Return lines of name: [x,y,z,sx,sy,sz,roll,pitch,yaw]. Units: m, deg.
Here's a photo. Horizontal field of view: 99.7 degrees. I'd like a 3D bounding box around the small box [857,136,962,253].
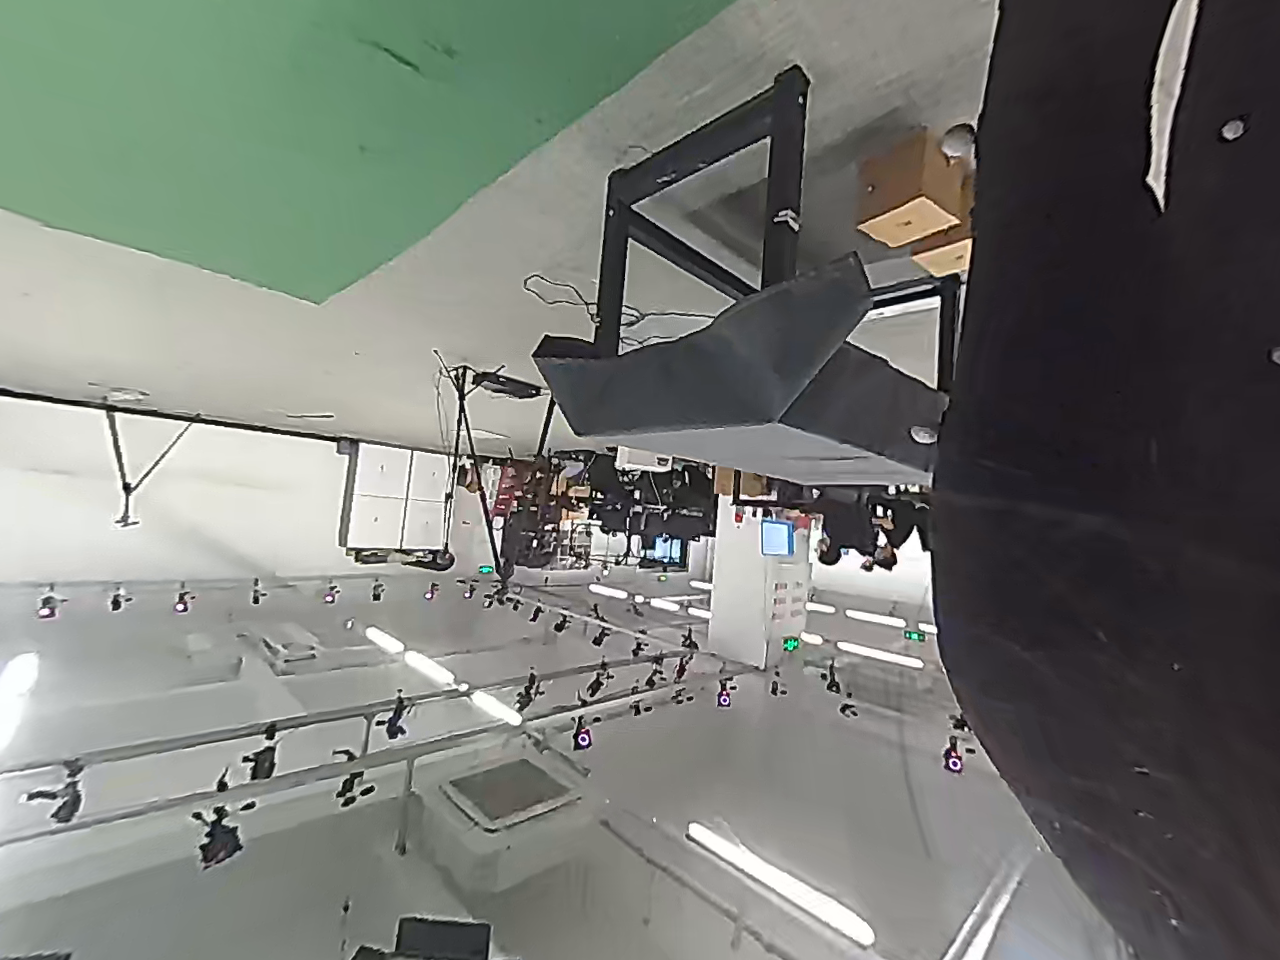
small box: [0.665,-0.695,1.332,0.168,0.176,0.179,6,177,-33]
